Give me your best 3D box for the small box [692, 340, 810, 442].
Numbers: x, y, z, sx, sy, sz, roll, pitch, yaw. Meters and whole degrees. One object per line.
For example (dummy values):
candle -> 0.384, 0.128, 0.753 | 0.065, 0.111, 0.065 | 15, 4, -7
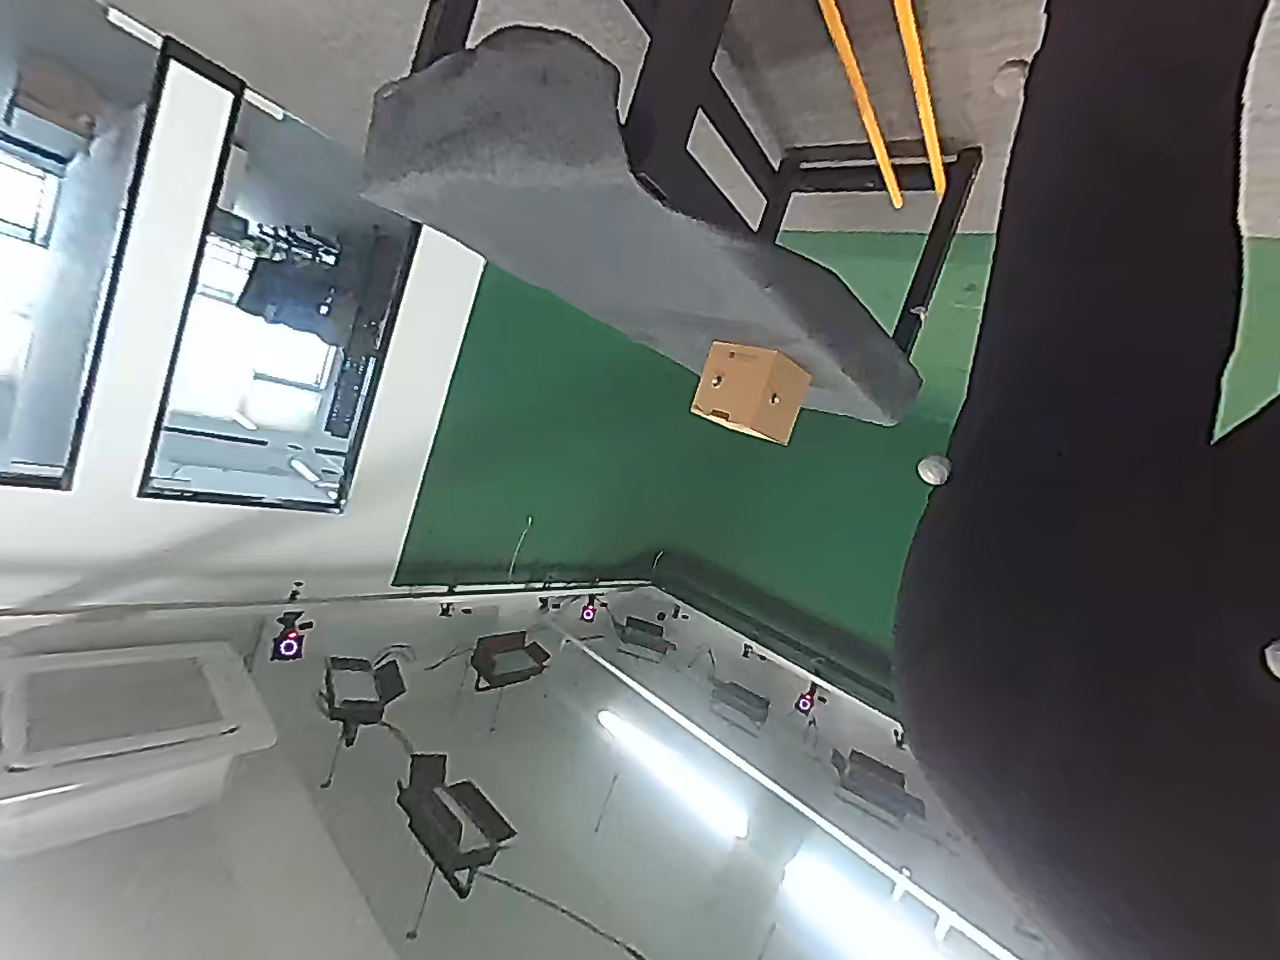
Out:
small box -> 0.248, -0.200, 1.201 | 0.168, 0.176, 0.179 | 25, -172, 41
